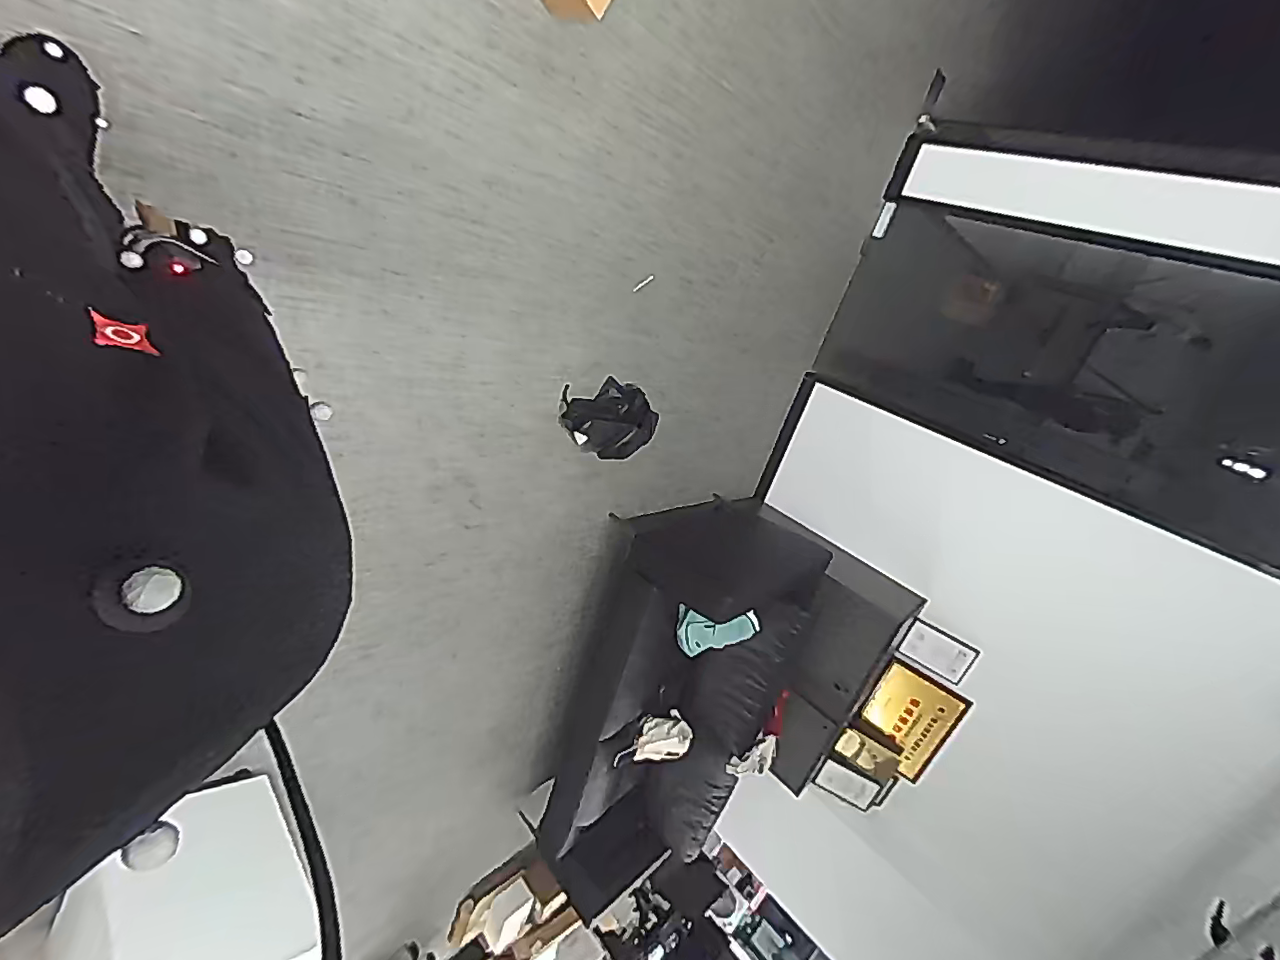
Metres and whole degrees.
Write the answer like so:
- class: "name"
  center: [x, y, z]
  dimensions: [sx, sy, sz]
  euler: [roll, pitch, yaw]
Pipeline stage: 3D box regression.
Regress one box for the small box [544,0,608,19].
- class: "small box"
  center: [-0.148, -1.132, 1.143]
  dimensions: [0.179, 0.176, 0.168]
  euler: [23, 101, -55]
